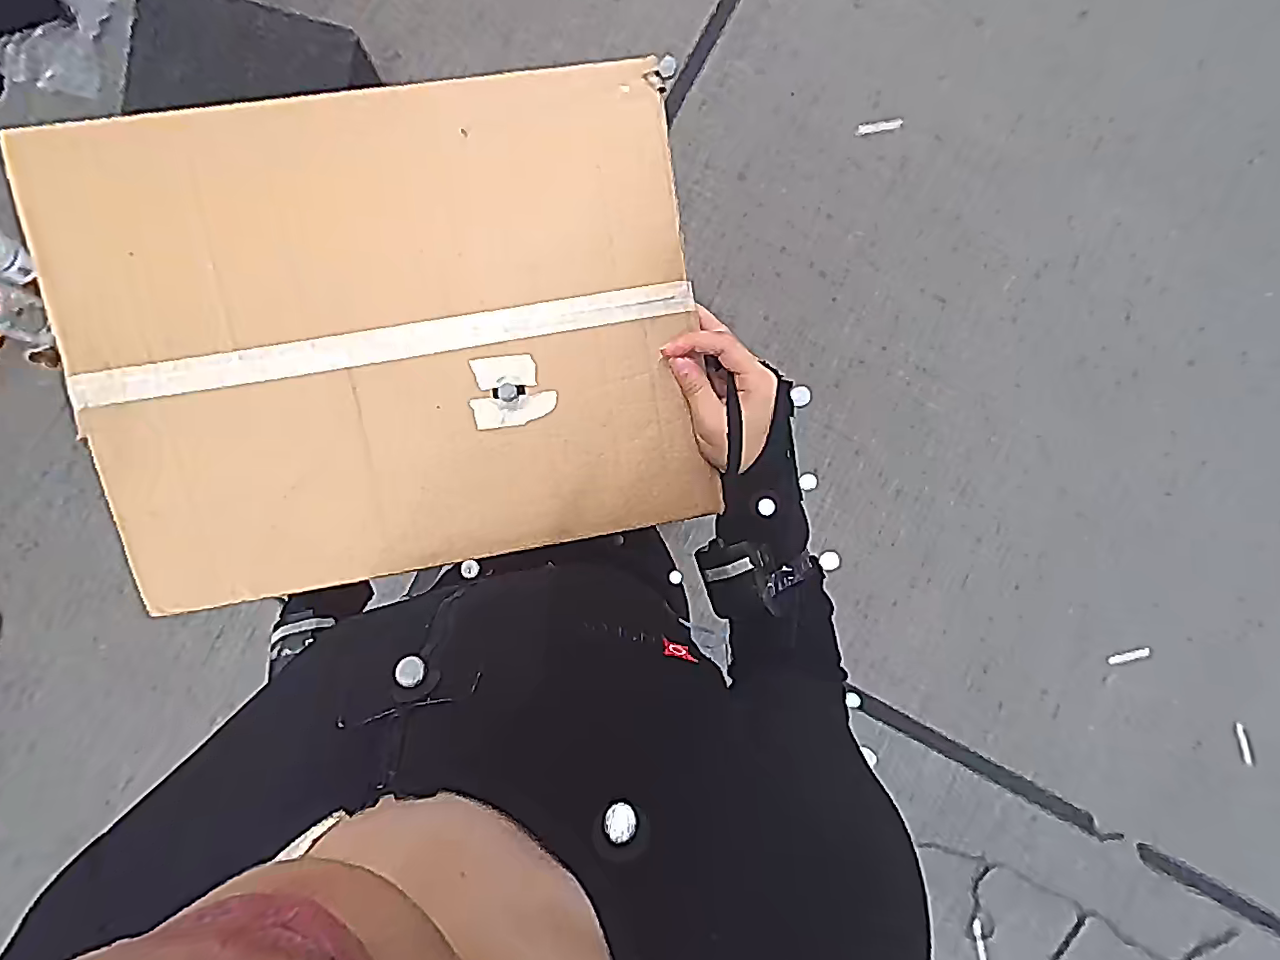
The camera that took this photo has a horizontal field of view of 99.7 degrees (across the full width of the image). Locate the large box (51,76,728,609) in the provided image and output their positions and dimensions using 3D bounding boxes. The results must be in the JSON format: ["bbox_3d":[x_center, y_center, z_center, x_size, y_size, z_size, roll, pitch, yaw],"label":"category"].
[{"bbox_3d":[-0.169,-0.110,0.520,0.408,0.320,0.320,-10,99,-6],"label":"large box"}]
